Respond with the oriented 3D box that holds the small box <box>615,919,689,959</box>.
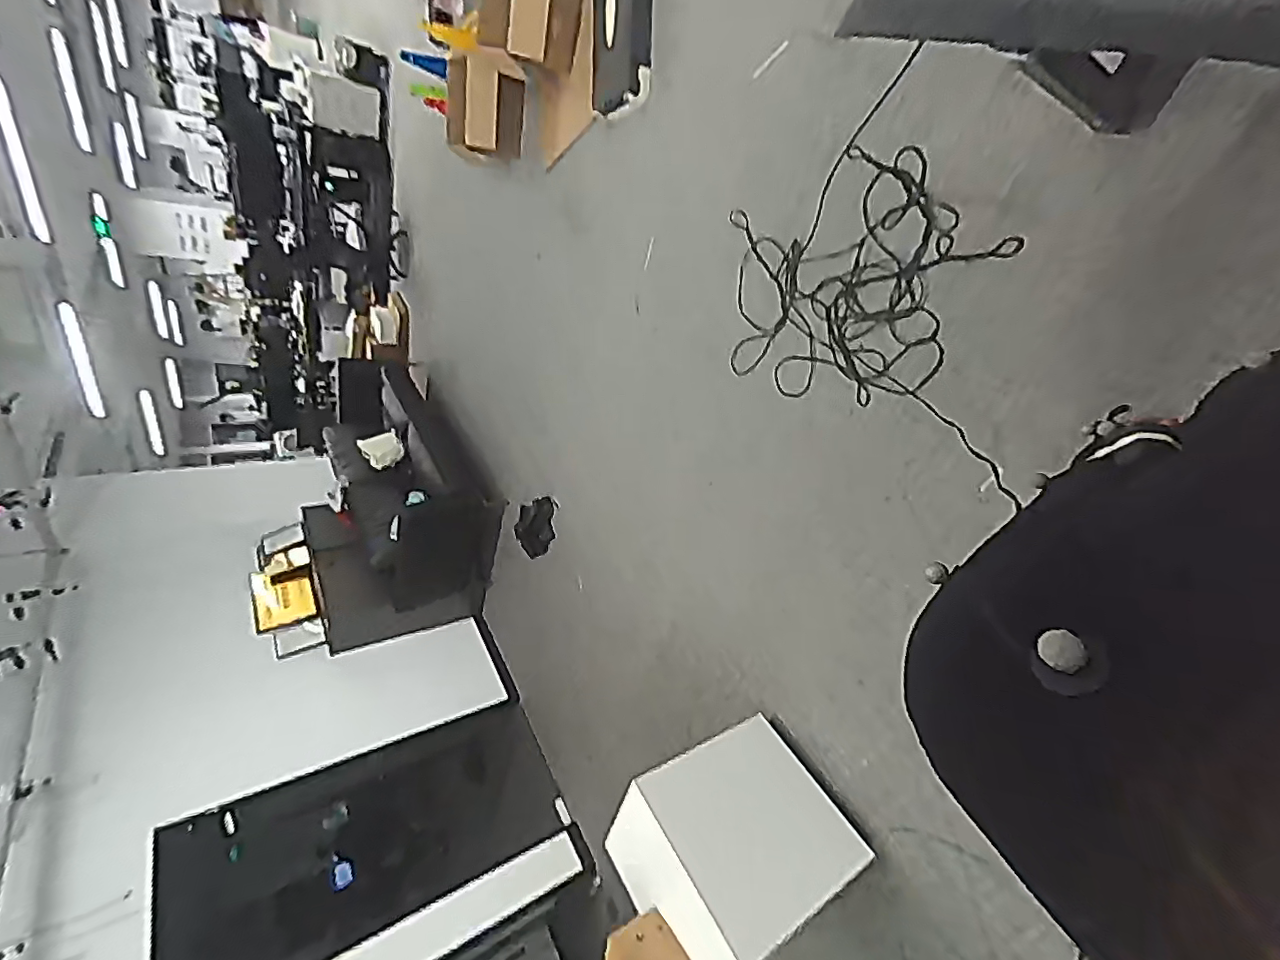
[{"bbox_3d":[0.041,1.370,1.481,0.168,0.176,0.179,27,118,50],"label":"small box"}]
